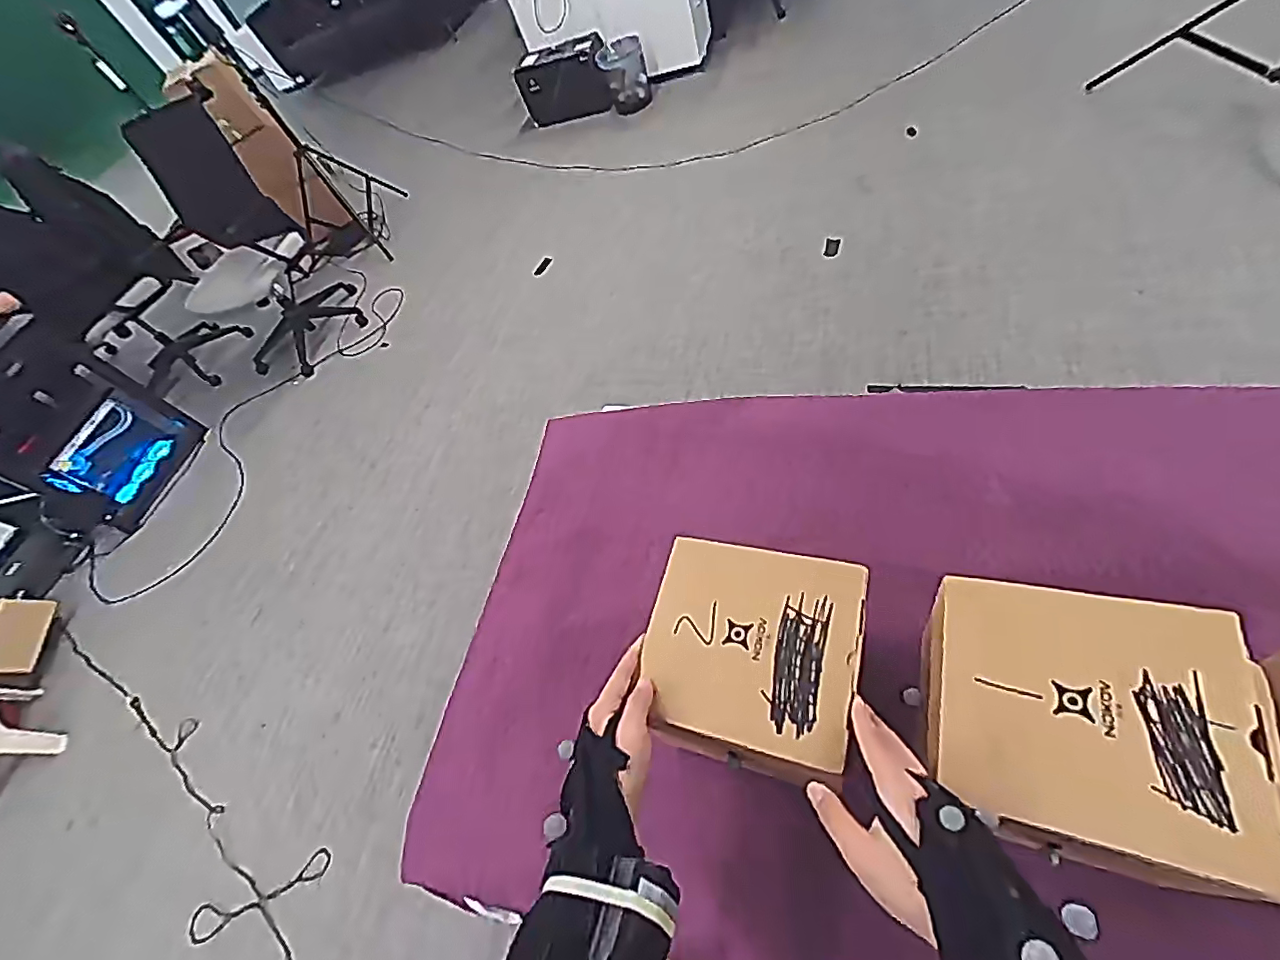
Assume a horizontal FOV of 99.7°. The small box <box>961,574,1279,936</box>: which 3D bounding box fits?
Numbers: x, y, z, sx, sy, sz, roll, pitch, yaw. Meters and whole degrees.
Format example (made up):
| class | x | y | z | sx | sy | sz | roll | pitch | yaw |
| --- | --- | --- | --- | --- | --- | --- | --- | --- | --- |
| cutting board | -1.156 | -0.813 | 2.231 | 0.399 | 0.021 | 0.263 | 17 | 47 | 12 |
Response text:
| class | x | y | z | sx | sy | sz | roll | pitch | yaw |
| --- | --- | --- | --- | --- | --- | --- | --- | --- | --- |
| small box | 0.373 | 0.185 | 0.395 | 0.179 | 0.176 | 0.168 | -16 | 93 | 16 |
